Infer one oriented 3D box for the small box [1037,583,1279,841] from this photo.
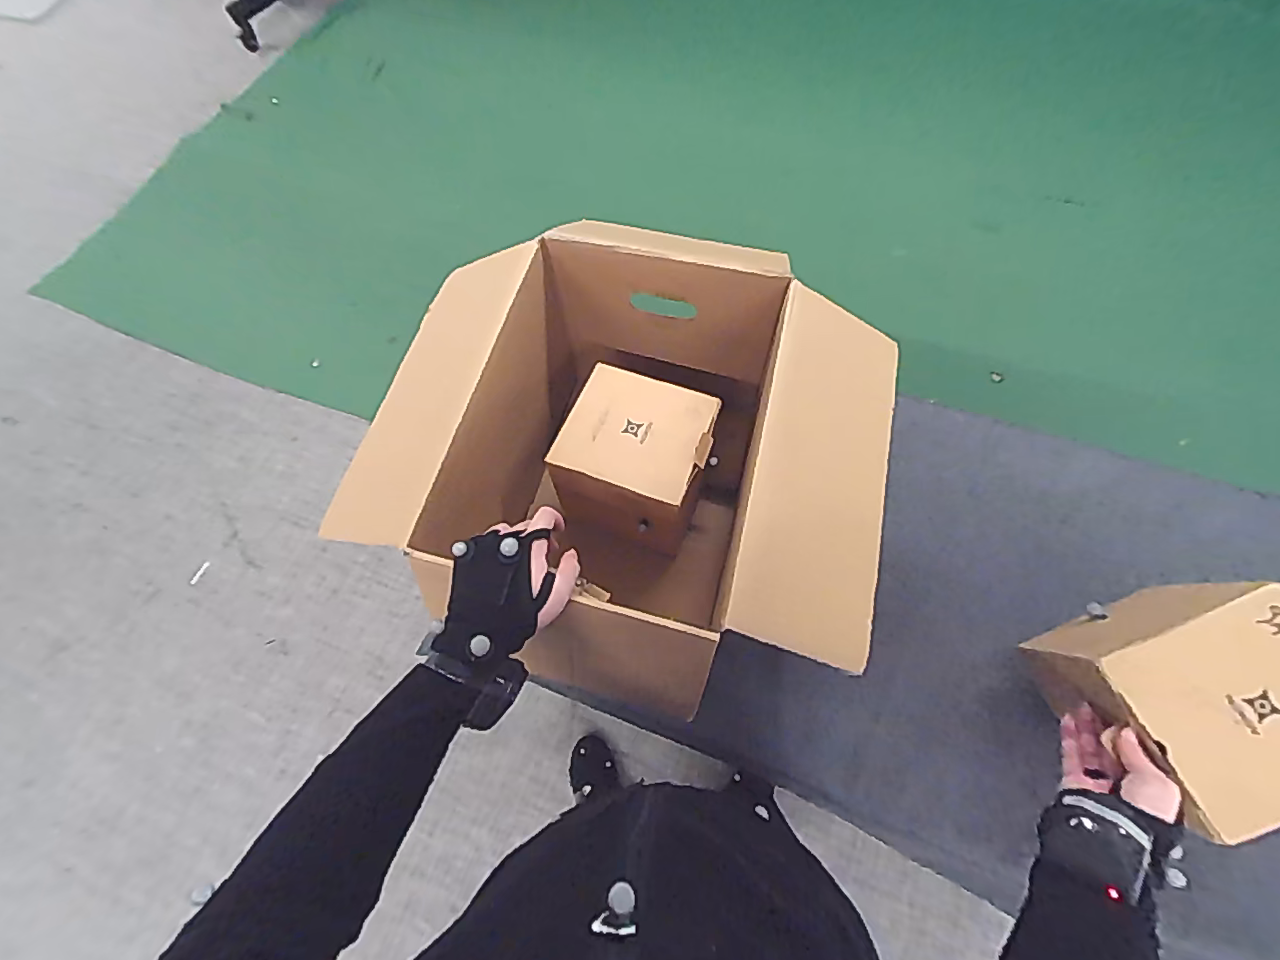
[{"bbox_3d":[0.552,0.219,0.549,0.179,0.176,0.168,-27,73,5],"label":"small box"}]
